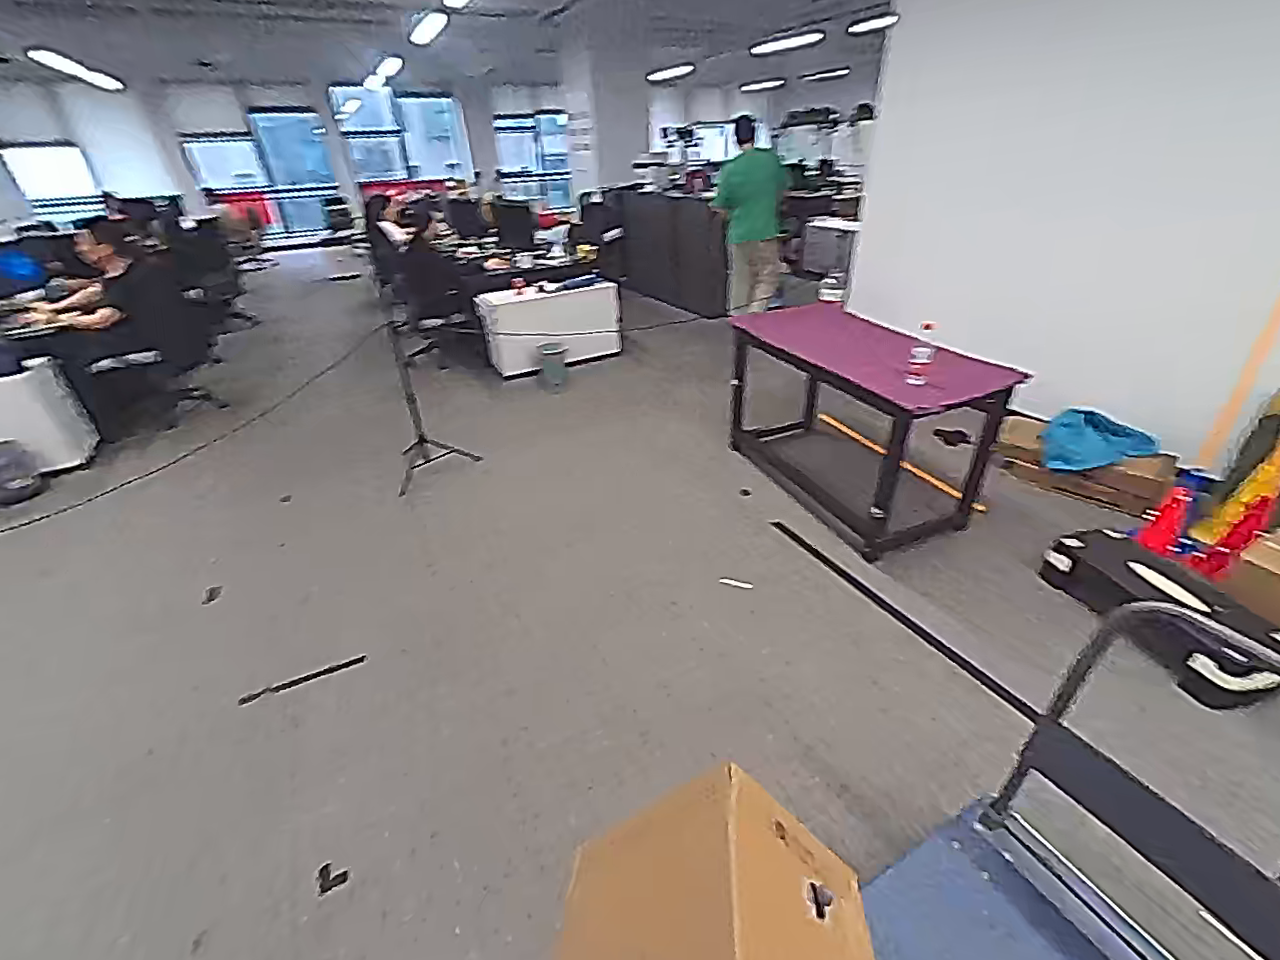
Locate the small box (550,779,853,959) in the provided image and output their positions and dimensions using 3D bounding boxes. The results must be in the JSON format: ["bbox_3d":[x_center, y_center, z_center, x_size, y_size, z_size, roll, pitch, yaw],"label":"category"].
[{"bbox_3d":[0.045,0.363,0.386,0.179,0.168,0.176,-41,12,17],"label":"small box"}]
